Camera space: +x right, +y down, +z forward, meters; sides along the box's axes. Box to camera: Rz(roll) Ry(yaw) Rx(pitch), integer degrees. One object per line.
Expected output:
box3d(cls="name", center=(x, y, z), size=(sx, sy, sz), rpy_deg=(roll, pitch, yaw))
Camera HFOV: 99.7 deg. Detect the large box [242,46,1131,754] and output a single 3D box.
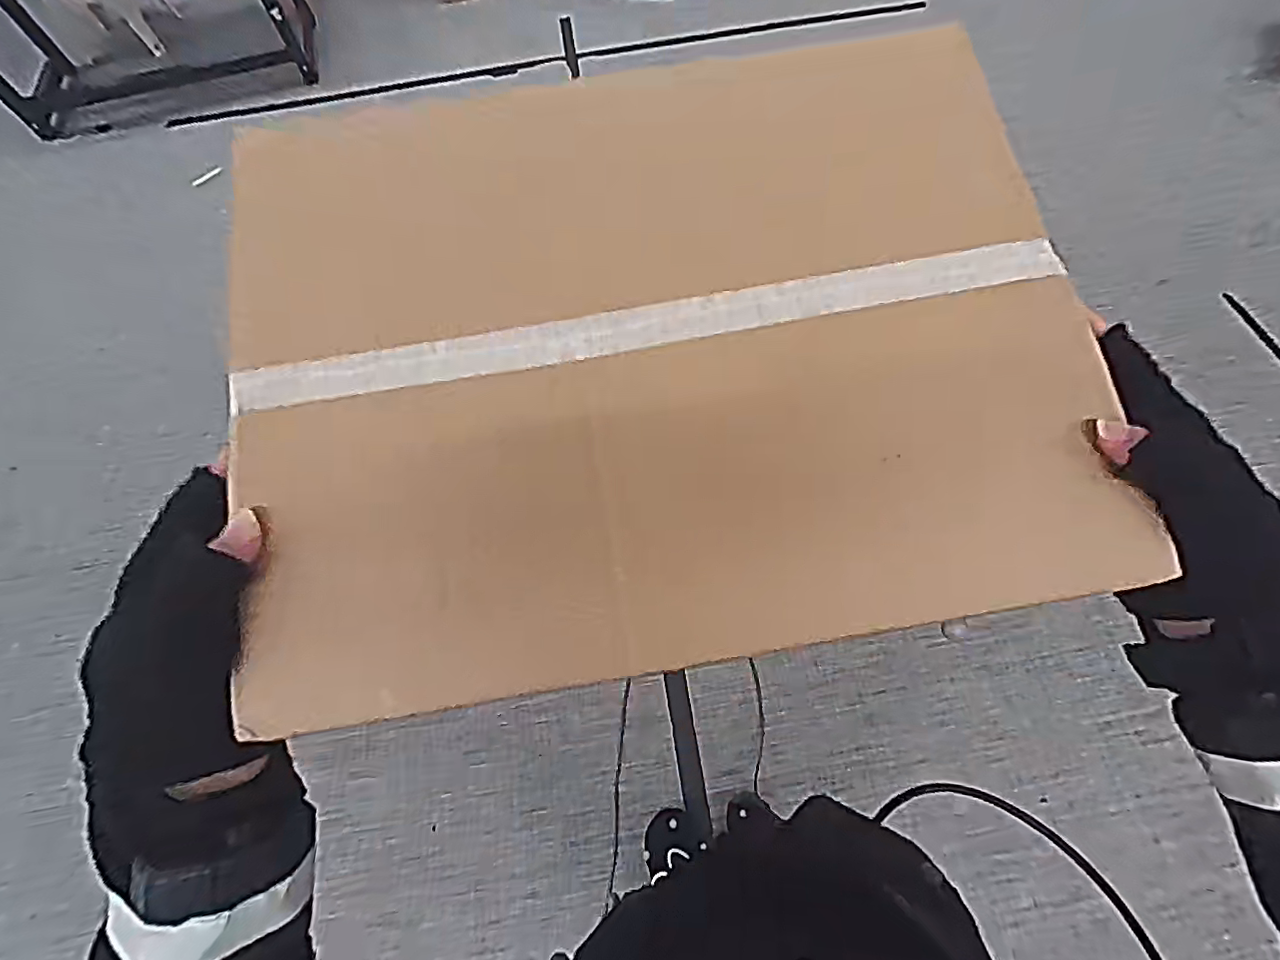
box3d(cls="large box", center=(0.007, -0.033, 0.415), size=(0.408, 0.320, 0.320), rpy_deg=(-10, 77, -1))
